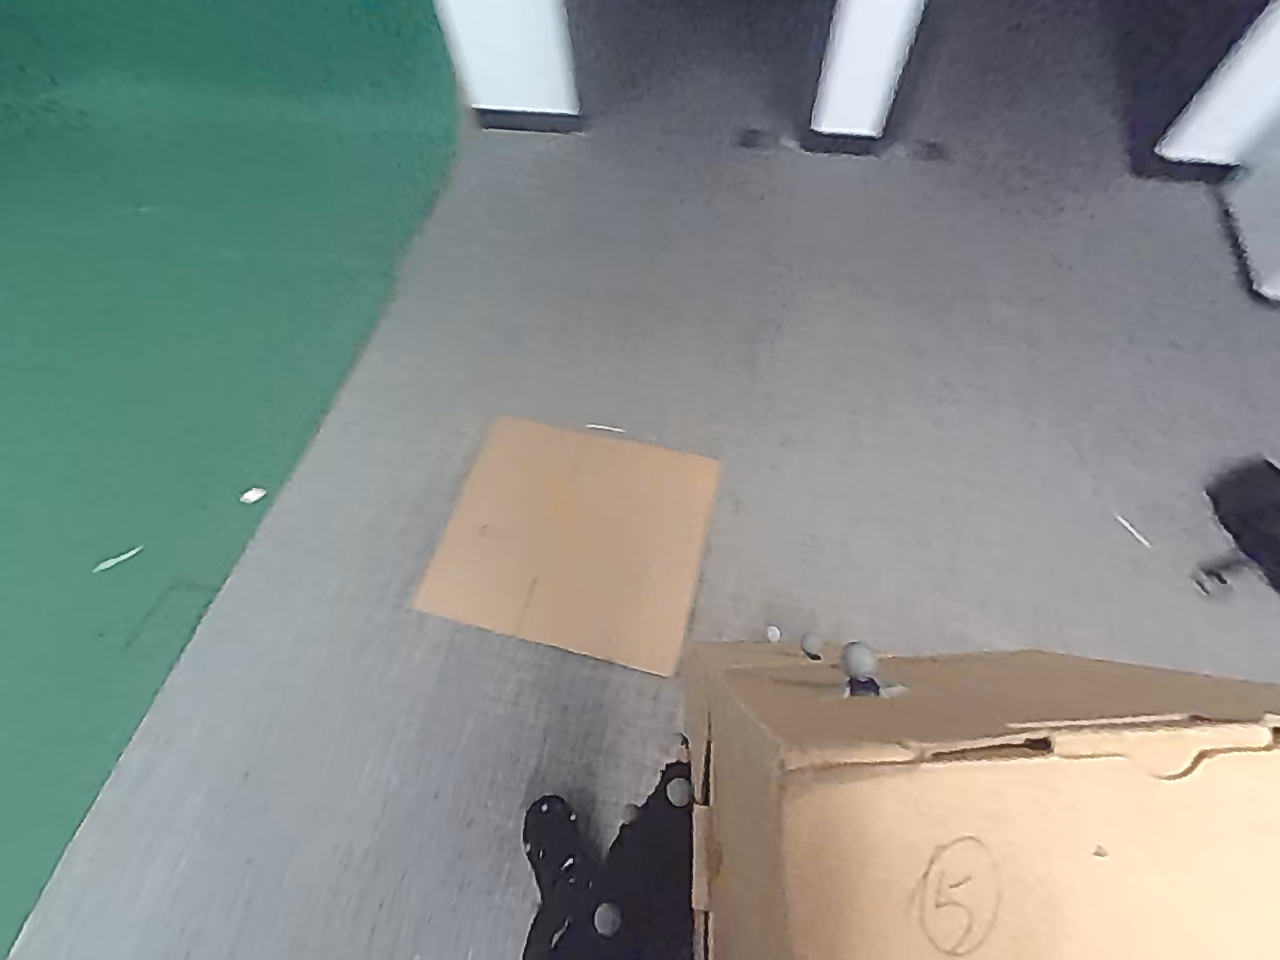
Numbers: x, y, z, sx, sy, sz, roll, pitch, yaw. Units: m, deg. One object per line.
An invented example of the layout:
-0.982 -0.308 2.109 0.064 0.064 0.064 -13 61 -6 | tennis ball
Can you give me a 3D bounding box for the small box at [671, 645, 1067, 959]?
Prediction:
0.110 0.193 0.338 0.179 0.176 0.168 -2 75 2 | small box
